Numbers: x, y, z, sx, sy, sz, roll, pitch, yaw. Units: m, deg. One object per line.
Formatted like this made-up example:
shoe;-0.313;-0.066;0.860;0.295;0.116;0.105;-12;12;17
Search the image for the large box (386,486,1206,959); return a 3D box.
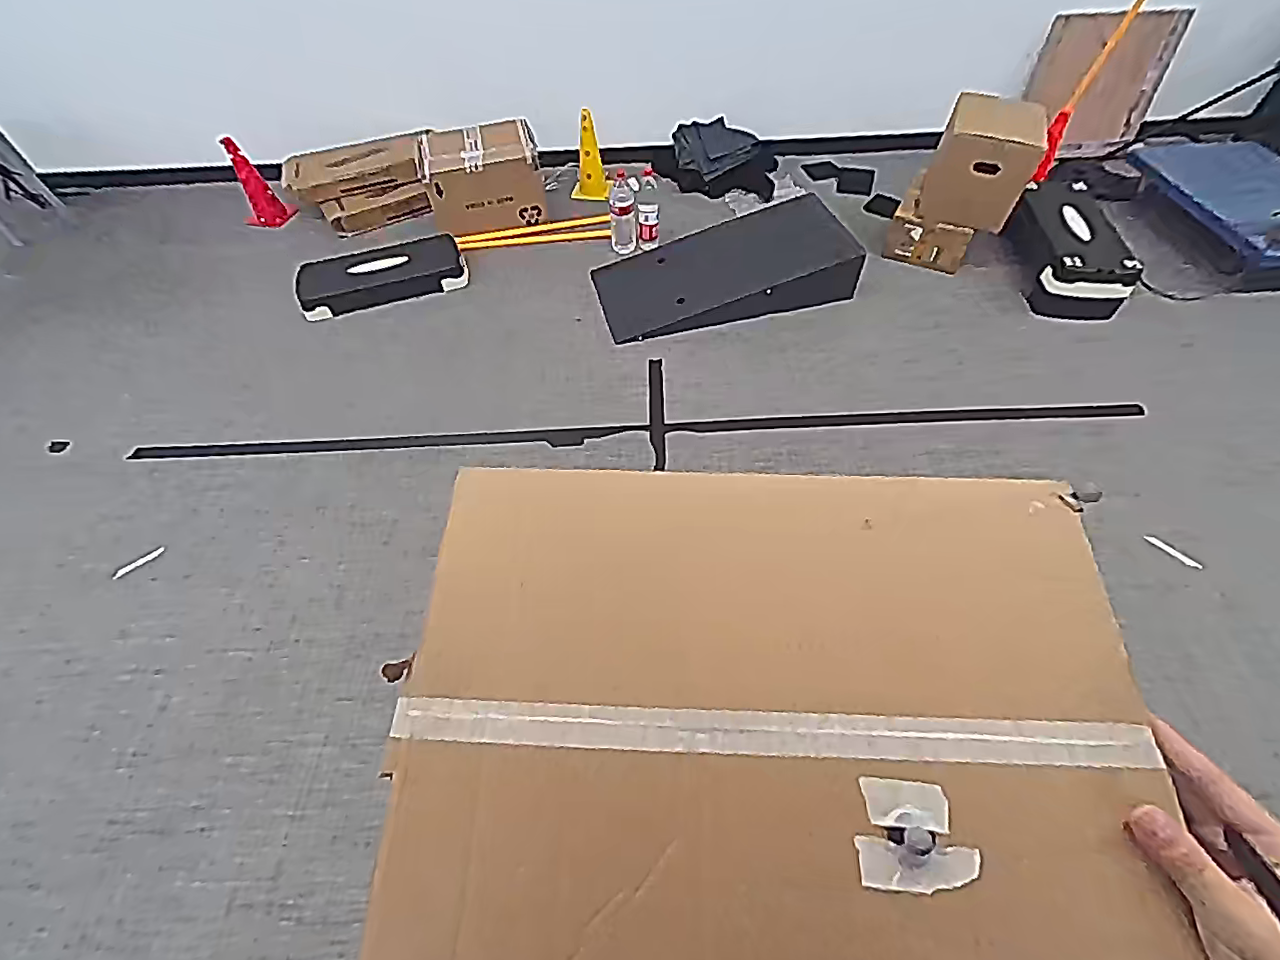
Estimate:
large box;0.076;0.208;0.438;0.408;0.320;0.320;1;65;2
